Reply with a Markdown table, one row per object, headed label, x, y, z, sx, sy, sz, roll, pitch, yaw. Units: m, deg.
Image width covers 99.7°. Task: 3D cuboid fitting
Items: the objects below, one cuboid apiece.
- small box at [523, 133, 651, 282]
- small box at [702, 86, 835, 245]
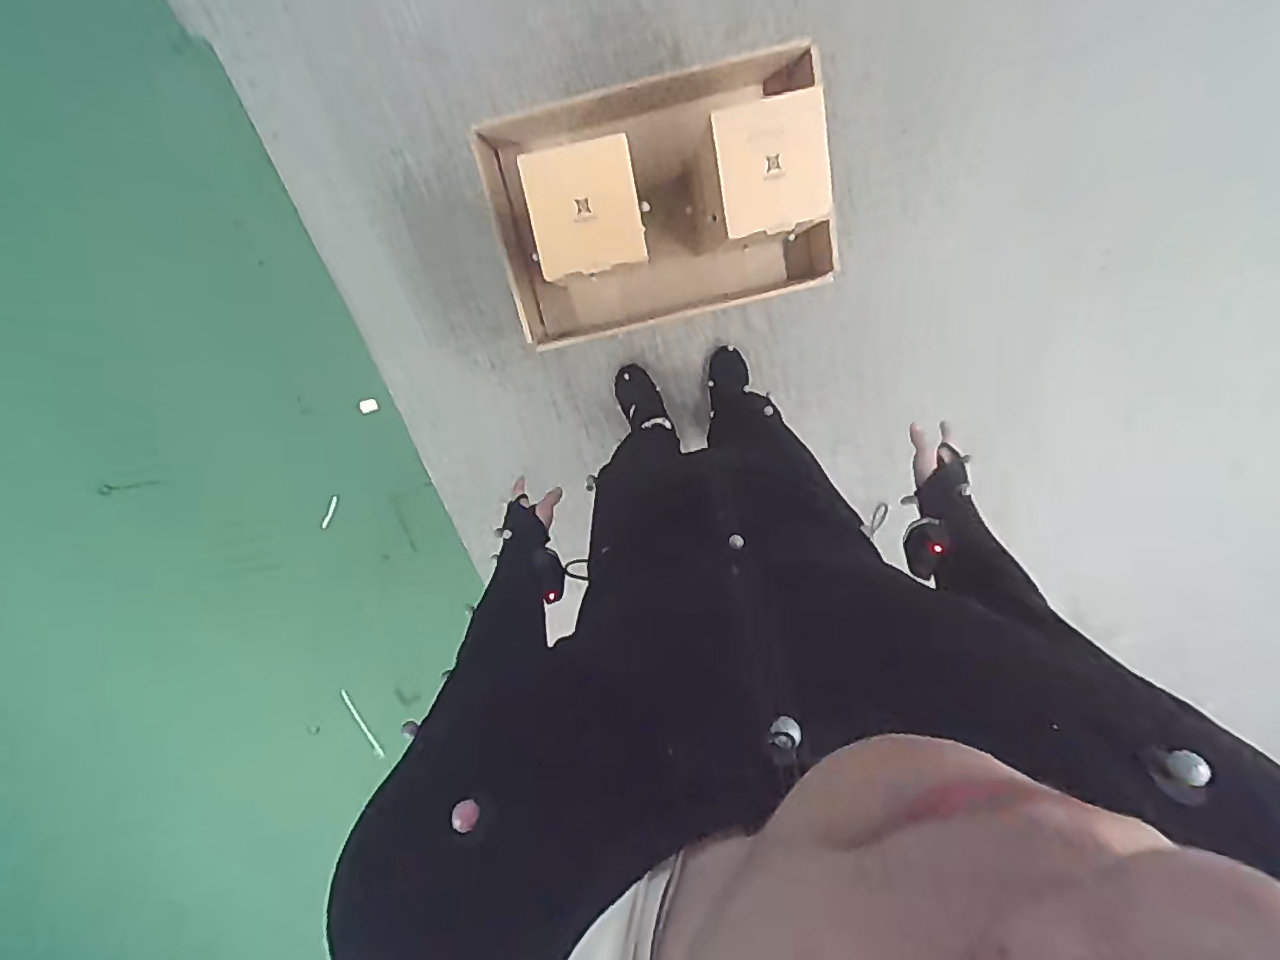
| label | x | y | z | sx | sy | sz | roll | pitch | yaw |
| --- | --- | --- | --- | --- | --- | --- | --- | --- | --- |
| small box | -0.080 | -0.434 | 0.888 | 0.168 | 0.176 | 0.179 | -11 | 108 | 3 |
| small box | 0.199 | -0.486 | 0.868 | 0.168 | 0.176 | 0.179 | -11 | 107 | 3 |
